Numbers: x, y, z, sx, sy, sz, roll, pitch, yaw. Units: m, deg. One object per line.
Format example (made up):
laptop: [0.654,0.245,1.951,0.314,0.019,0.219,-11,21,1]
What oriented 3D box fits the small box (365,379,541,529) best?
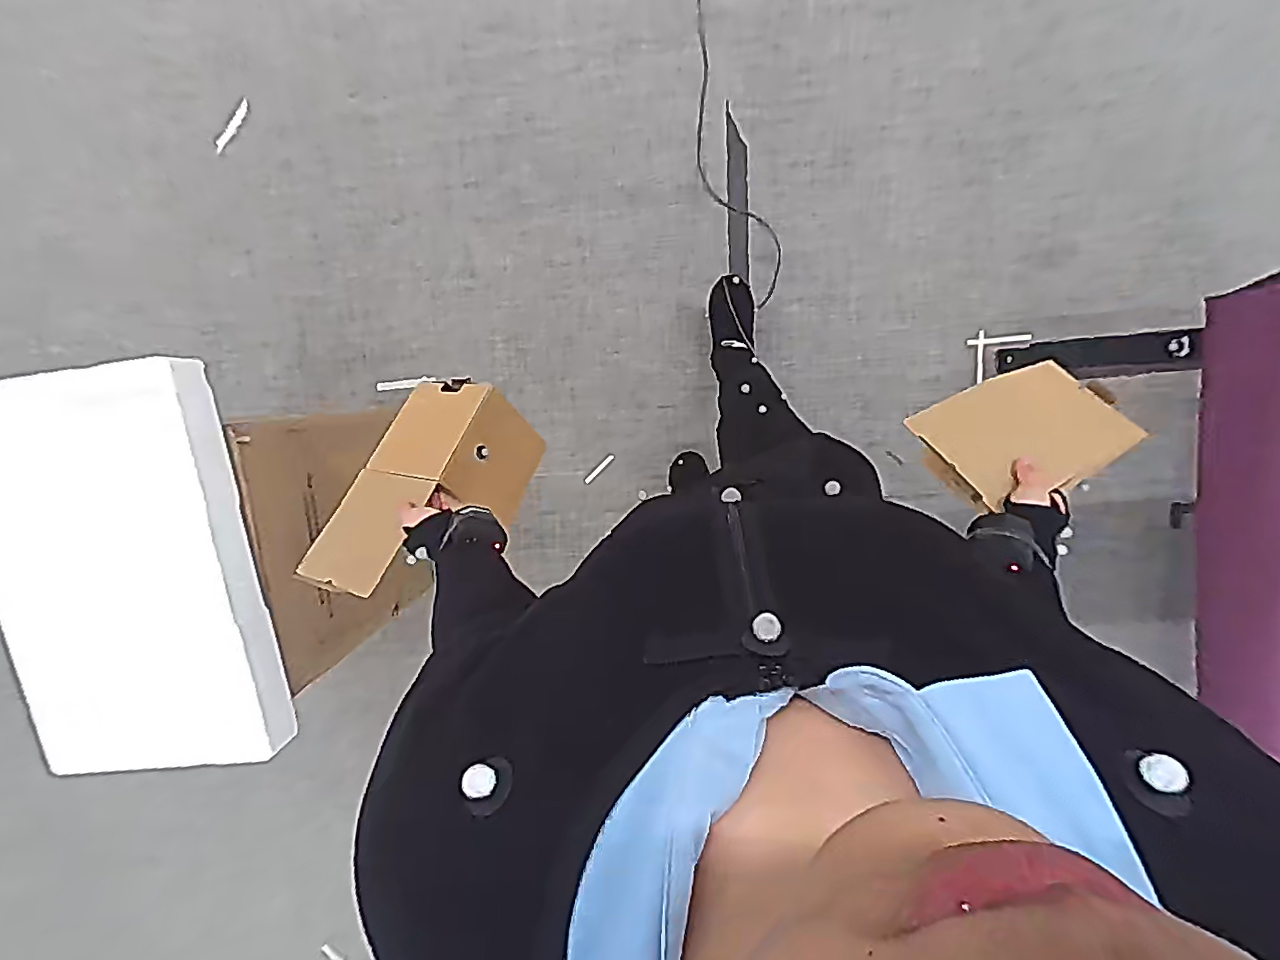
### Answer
small box: [-0.286,-0.040,0.866,0.168,0.176,0.179,8,63,28]
